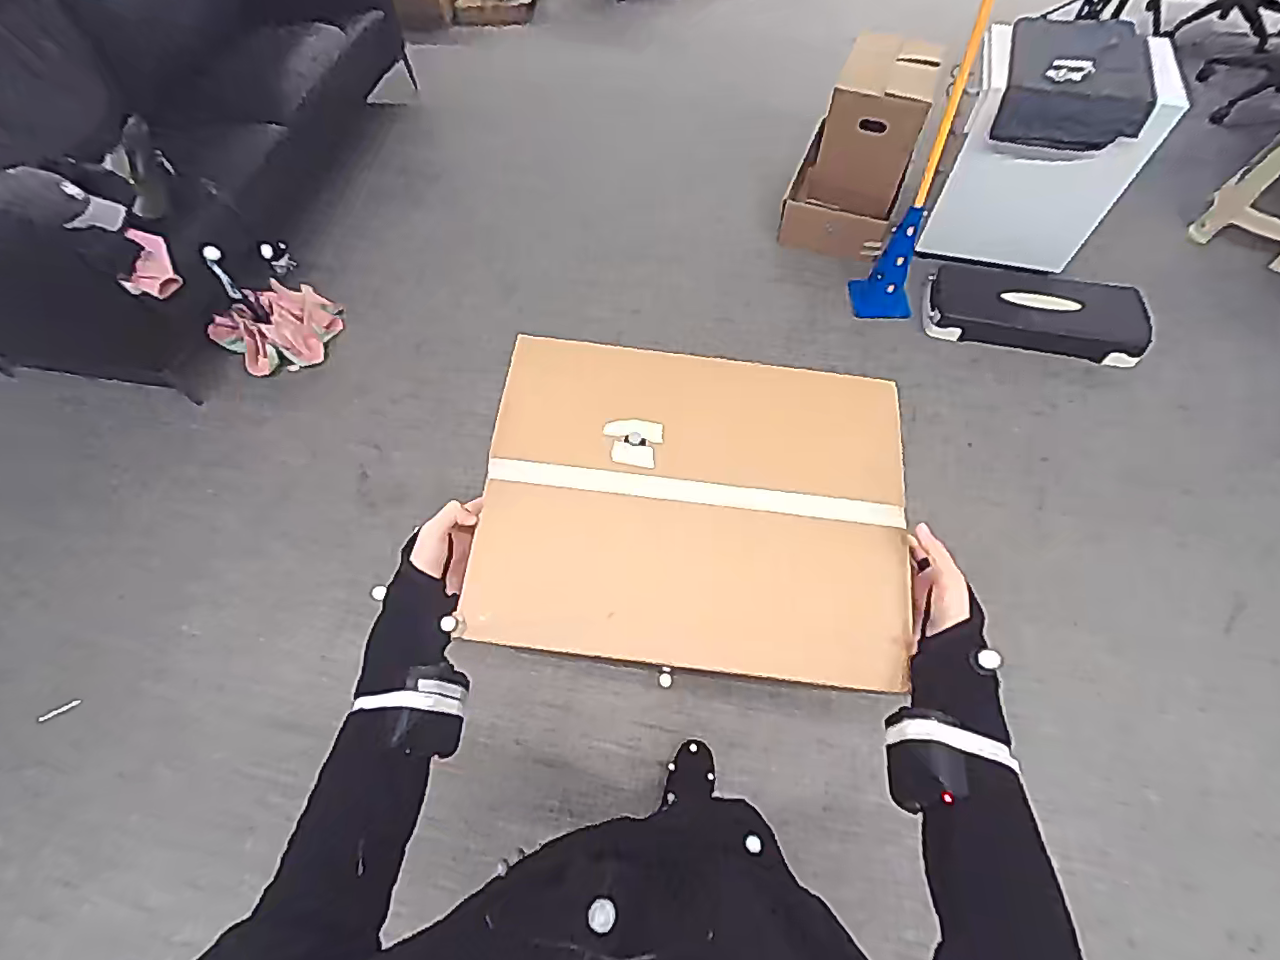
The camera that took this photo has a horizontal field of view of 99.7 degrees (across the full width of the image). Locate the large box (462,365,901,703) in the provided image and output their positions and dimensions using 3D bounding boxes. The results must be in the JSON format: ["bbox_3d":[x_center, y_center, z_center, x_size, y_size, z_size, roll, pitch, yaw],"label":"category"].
[{"bbox_3d":[0.049,0.087,0.673,0.408,0.320,0.320,7,68,1],"label":"large box"}]
